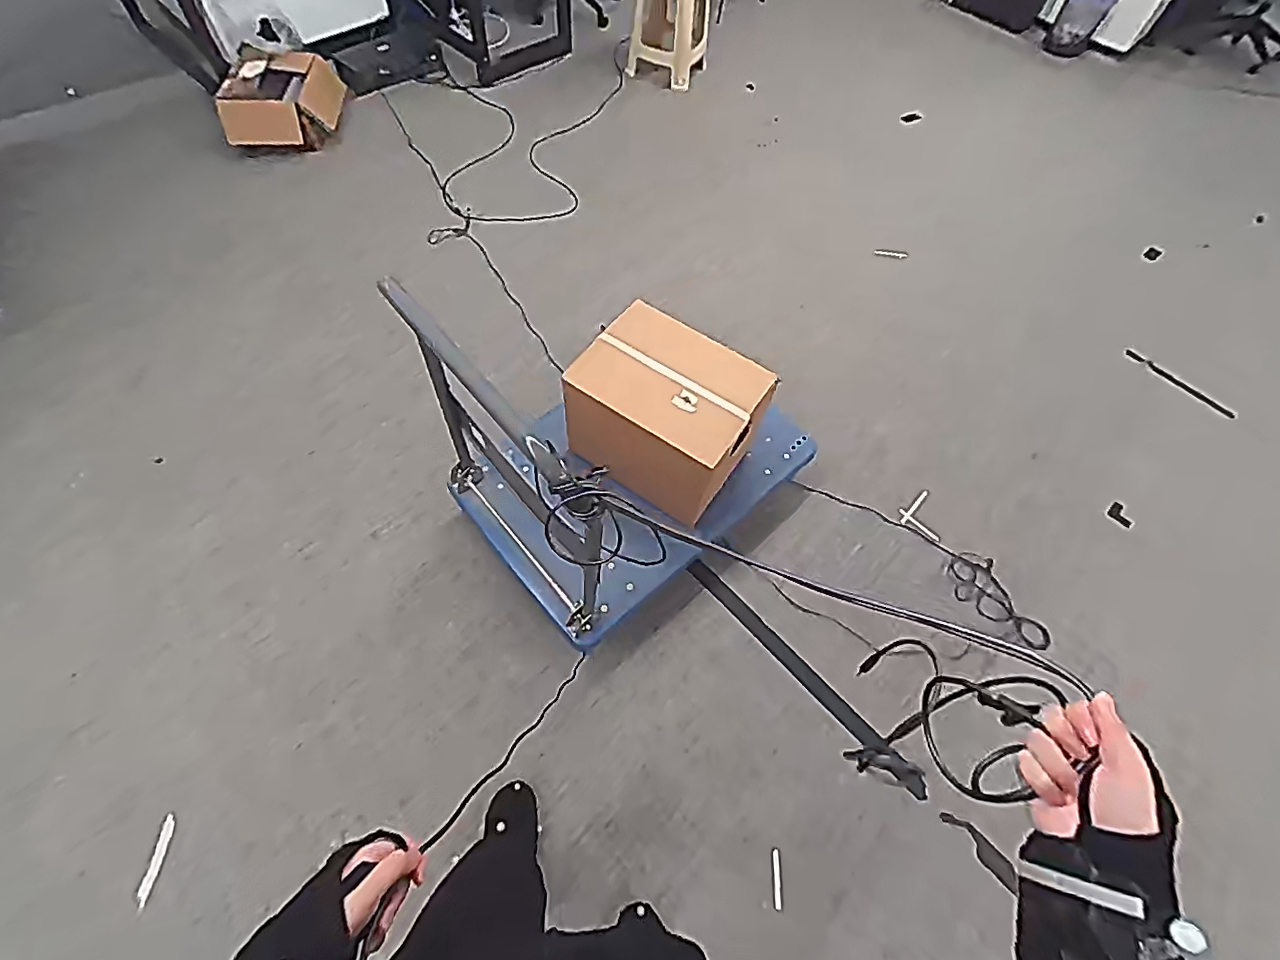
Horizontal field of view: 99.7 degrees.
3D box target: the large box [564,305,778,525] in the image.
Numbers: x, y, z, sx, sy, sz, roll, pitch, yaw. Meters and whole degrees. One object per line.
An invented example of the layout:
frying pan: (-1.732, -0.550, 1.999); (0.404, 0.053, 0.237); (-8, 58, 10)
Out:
large box: (0.061, -0.157, 1.359); (0.408, 0.320, 0.320); (32, 65, 12)
